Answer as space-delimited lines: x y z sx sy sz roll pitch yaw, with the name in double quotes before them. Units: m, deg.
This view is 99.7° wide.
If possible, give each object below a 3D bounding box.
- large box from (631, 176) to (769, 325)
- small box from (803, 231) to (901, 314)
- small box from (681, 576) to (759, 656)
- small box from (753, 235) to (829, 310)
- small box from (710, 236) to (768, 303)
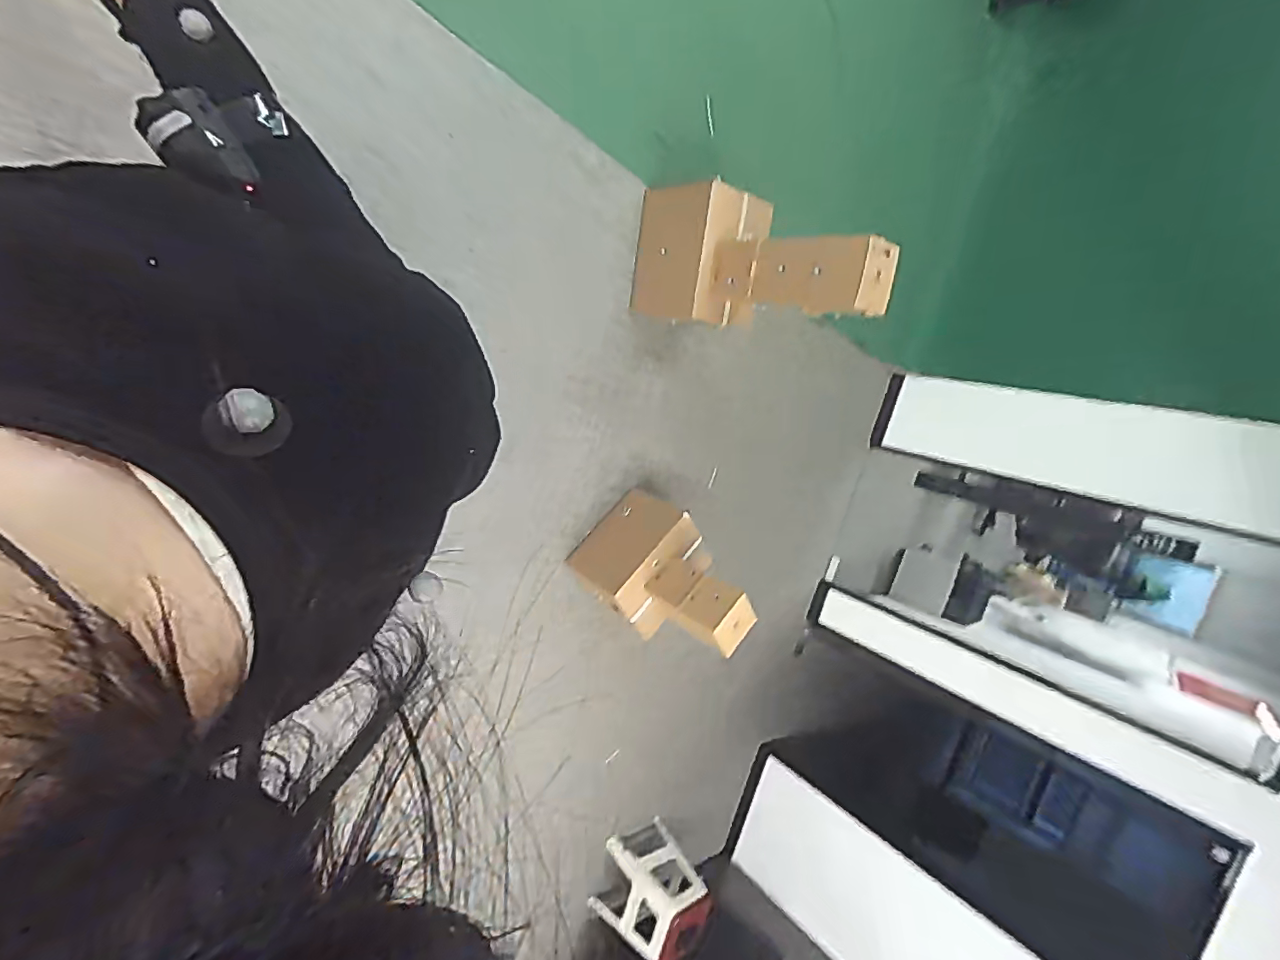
"large box" 0.194 -0.751 1.839 0.320 0.320 0.408 -6 109 -43
"small box" 0.559 -0.552 1.443 0.168 0.176 0.179 -6 111 -42
"small box" 0.263 0.439 1.787 0.168 0.176 0.179 -47 134 -19
"small box" 0.449 -0.595 1.558 0.168 0.176 0.179 -6 110 -41
"small box" 0.340 -0.643 1.670 0.179 0.176 0.168 -5 110 -42
